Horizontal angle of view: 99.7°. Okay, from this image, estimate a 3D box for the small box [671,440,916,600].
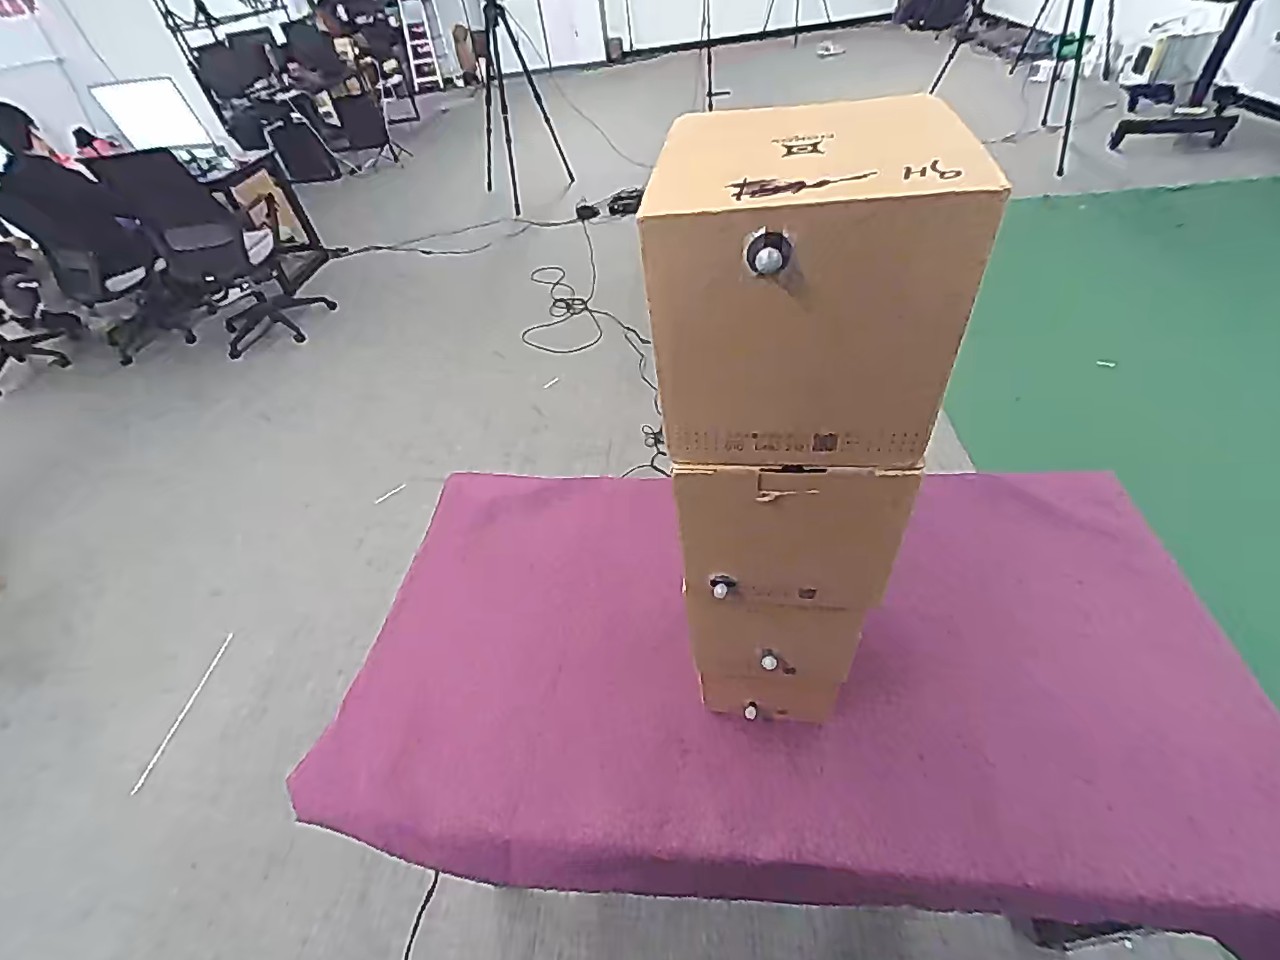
[{"bbox_3d":[0.126,-0.011,0.478,0.168,0.176,0.179,1,45,12],"label":"small box"}]

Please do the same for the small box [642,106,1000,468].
[{"bbox_3d":[0.105,-0.129,0.367,0.168,0.176,0.179,1,45,13],"label":"small box"}]

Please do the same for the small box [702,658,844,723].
[{"bbox_3d":[0.172,0.199,0.726,0.168,0.176,0.179,1,47,12],"label":"small box"}]

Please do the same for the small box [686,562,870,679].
[{"bbox_3d":[0.145,0.096,0.601,0.168,0.176,0.179,0,46,12],"label":"small box"}]
